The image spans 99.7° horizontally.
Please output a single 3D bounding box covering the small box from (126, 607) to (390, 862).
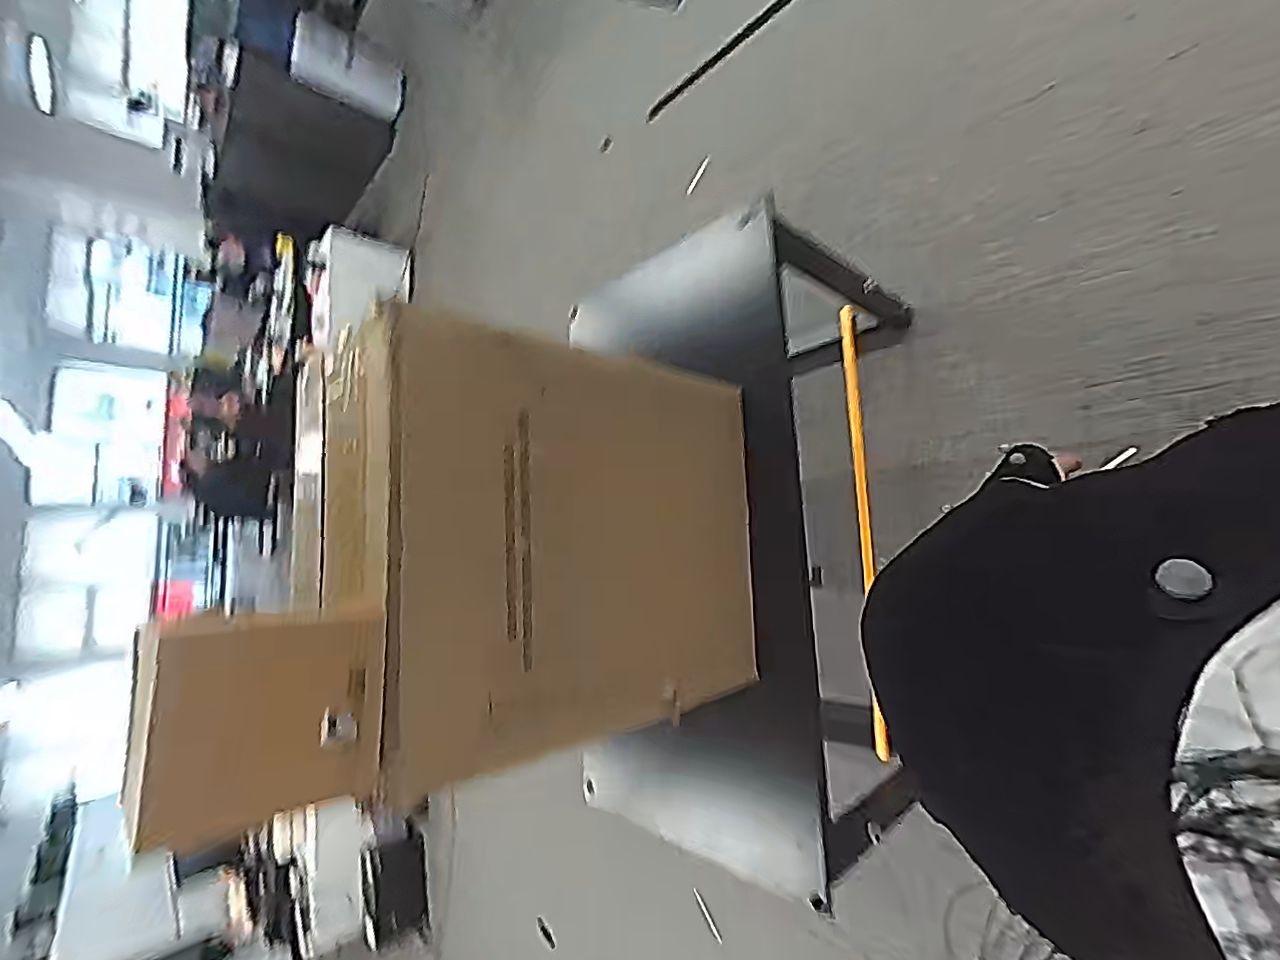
[{"bbox_3d":[-0.354,0.211,0.507,0.179,0.176,0.168,-14,76,43],"label":"small box"}]
